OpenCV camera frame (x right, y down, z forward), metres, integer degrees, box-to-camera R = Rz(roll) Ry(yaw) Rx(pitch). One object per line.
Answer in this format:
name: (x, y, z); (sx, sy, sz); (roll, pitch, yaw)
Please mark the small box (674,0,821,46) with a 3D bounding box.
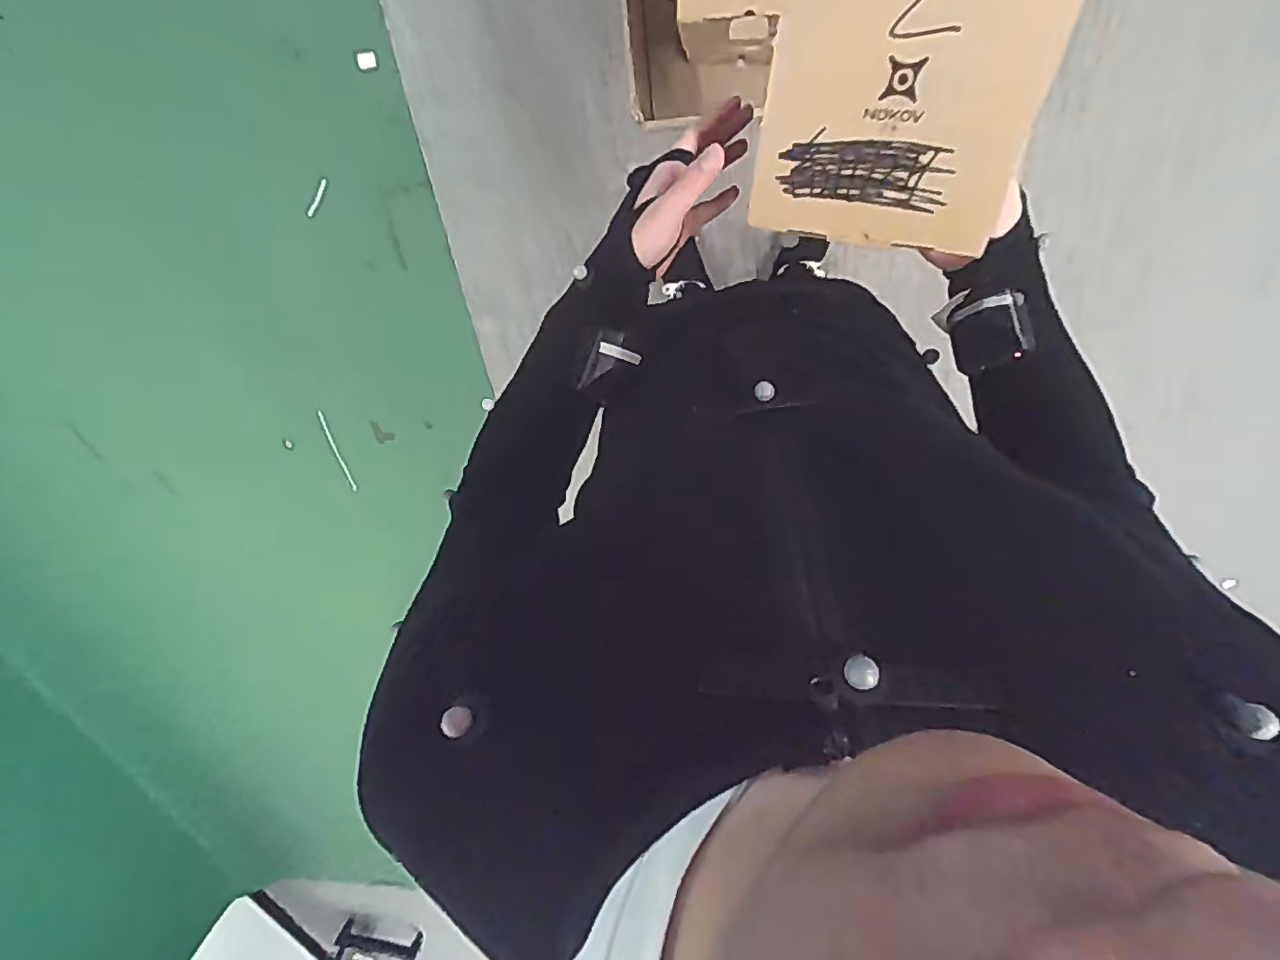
small box: (0.130, -0.633, 0.636); (0.168, 0.176, 0.179); (3, 119, 6)
